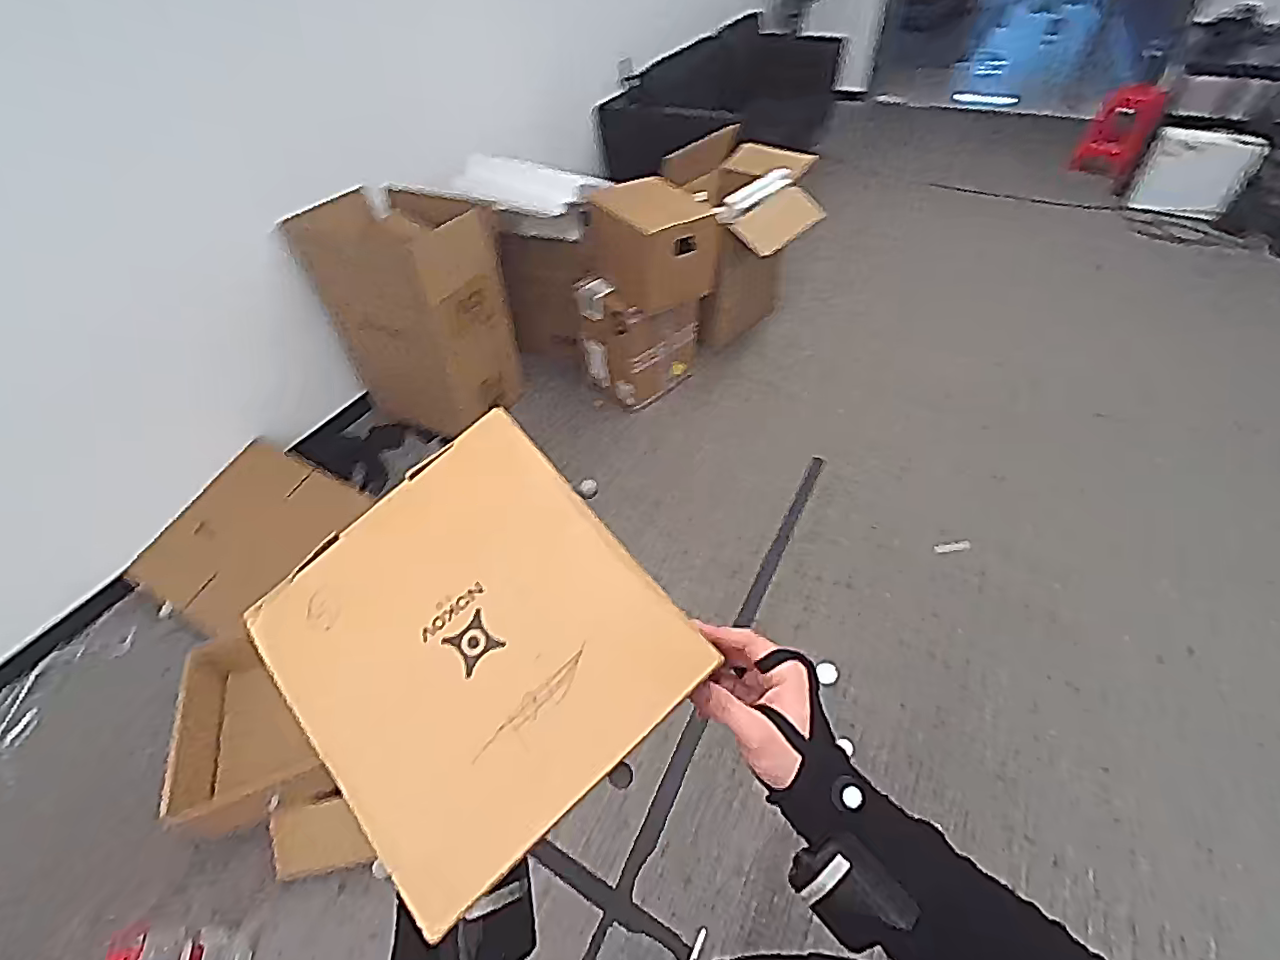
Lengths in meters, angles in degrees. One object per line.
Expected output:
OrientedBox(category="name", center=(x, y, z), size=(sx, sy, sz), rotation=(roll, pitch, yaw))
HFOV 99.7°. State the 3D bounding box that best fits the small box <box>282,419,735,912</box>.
OrientedBox(category="small box", center=(-0.063, 0.100, 0.341), size=(0.168, 0.176, 0.179), rotation=(-41, 74, -7))
